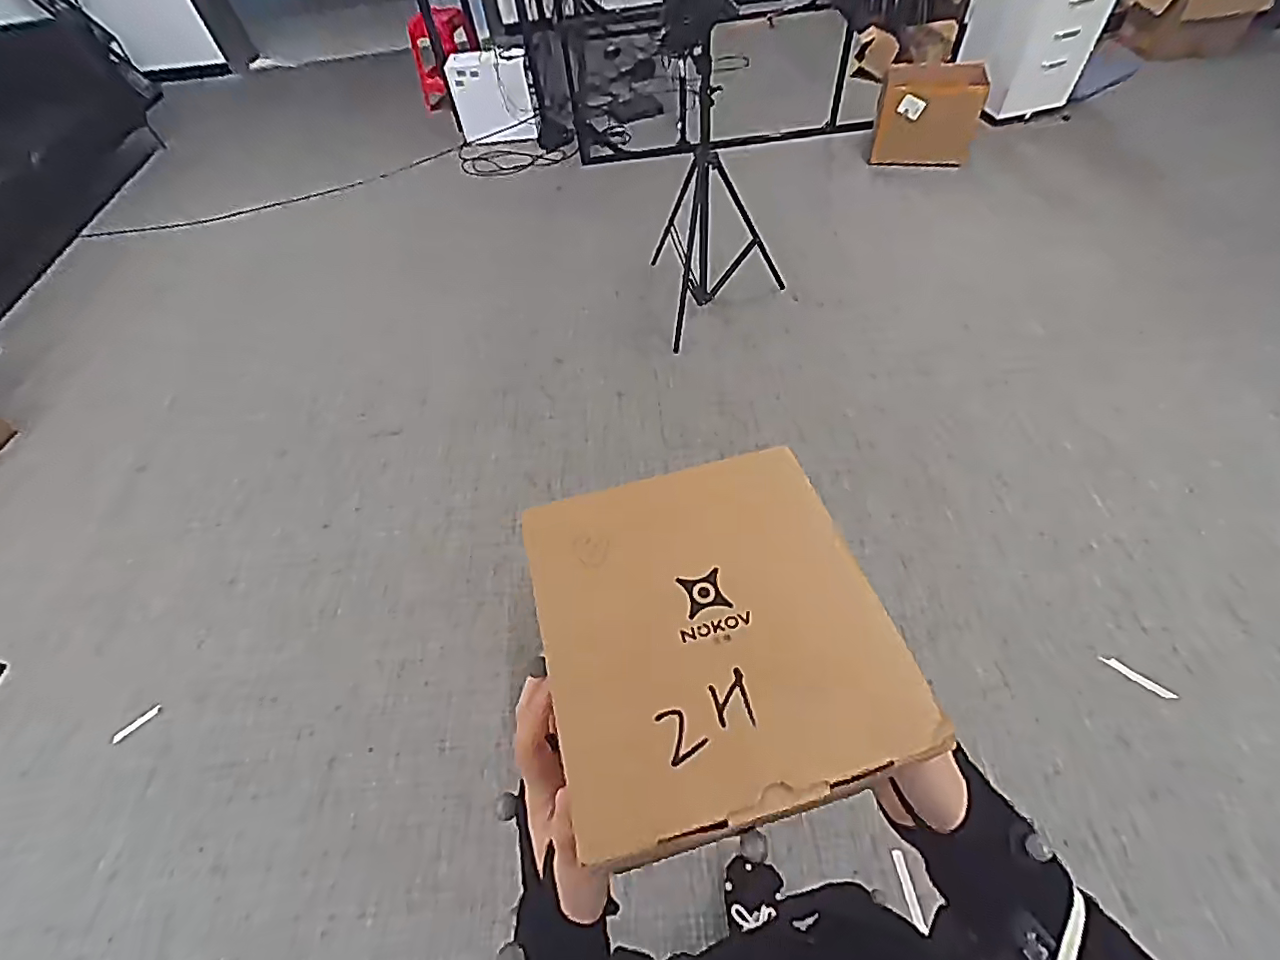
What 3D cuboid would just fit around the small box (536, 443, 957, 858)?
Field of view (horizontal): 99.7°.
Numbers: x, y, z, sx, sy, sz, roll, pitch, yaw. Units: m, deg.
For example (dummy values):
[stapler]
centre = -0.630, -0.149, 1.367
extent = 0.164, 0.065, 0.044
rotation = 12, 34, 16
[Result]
[small box]
centre = 0.040, 0.108, 0.335
extent = 0.168, 0.176, 0.179
rotation = -14, 54, -7
